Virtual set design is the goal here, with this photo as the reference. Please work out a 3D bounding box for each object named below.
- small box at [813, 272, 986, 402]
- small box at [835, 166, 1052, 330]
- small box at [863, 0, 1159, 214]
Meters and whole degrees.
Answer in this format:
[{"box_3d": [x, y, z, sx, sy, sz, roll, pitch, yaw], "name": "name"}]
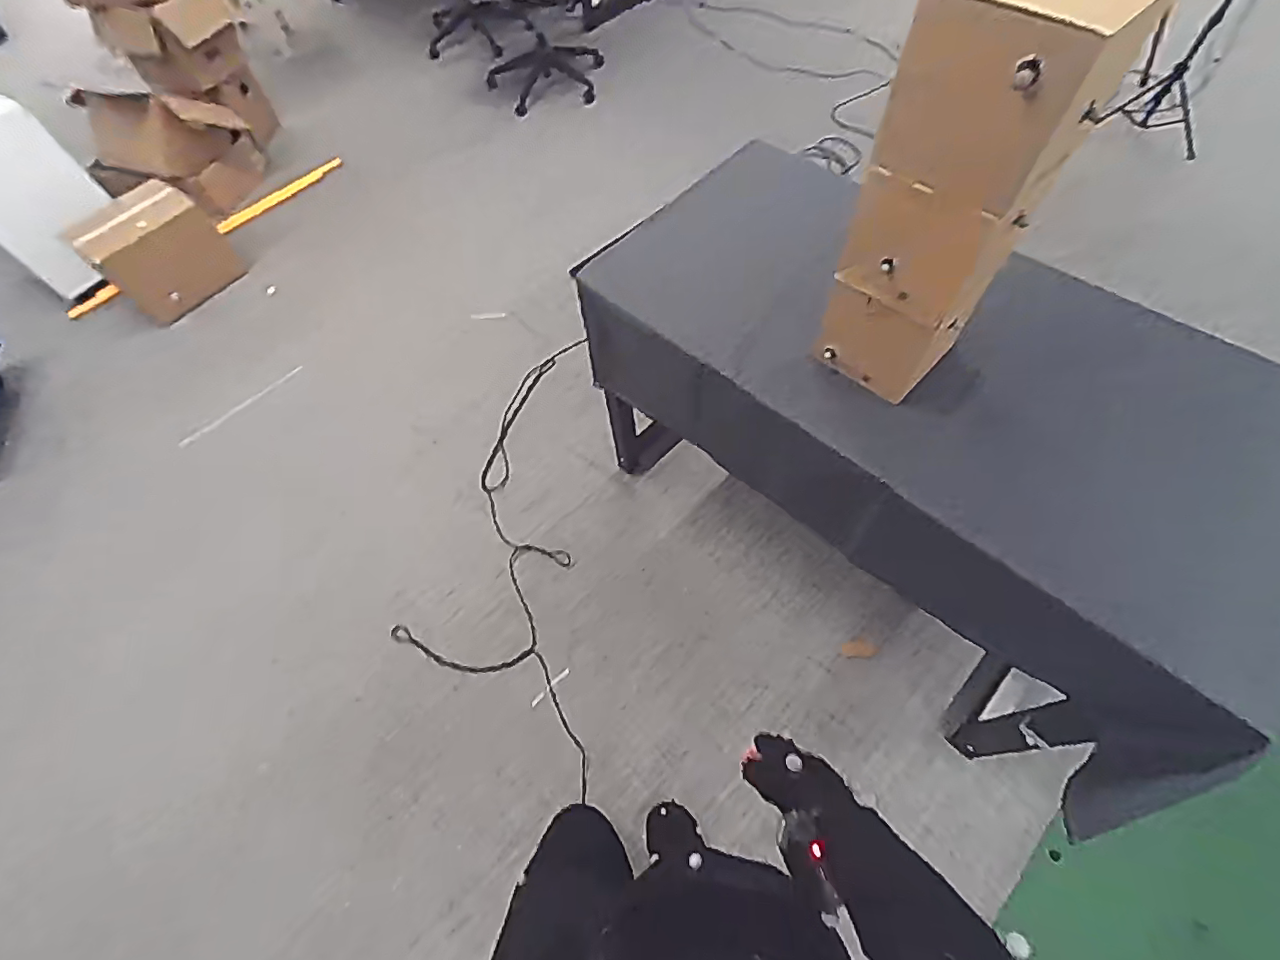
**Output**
[{"box_3d": [0.399, -0.258, 0.865, 0.168, 0.176, 0.179, 39, 68, 23], "name": "small box"}, {"box_3d": [0.389, -0.340, 0.725, 0.168, 0.176, 0.179, 39, 70, 23], "name": "small box"}, {"box_3d": [0.378, -0.420, 0.581, 0.168, 0.176, 0.179, -41, 65, -18], "name": "small box"}]
